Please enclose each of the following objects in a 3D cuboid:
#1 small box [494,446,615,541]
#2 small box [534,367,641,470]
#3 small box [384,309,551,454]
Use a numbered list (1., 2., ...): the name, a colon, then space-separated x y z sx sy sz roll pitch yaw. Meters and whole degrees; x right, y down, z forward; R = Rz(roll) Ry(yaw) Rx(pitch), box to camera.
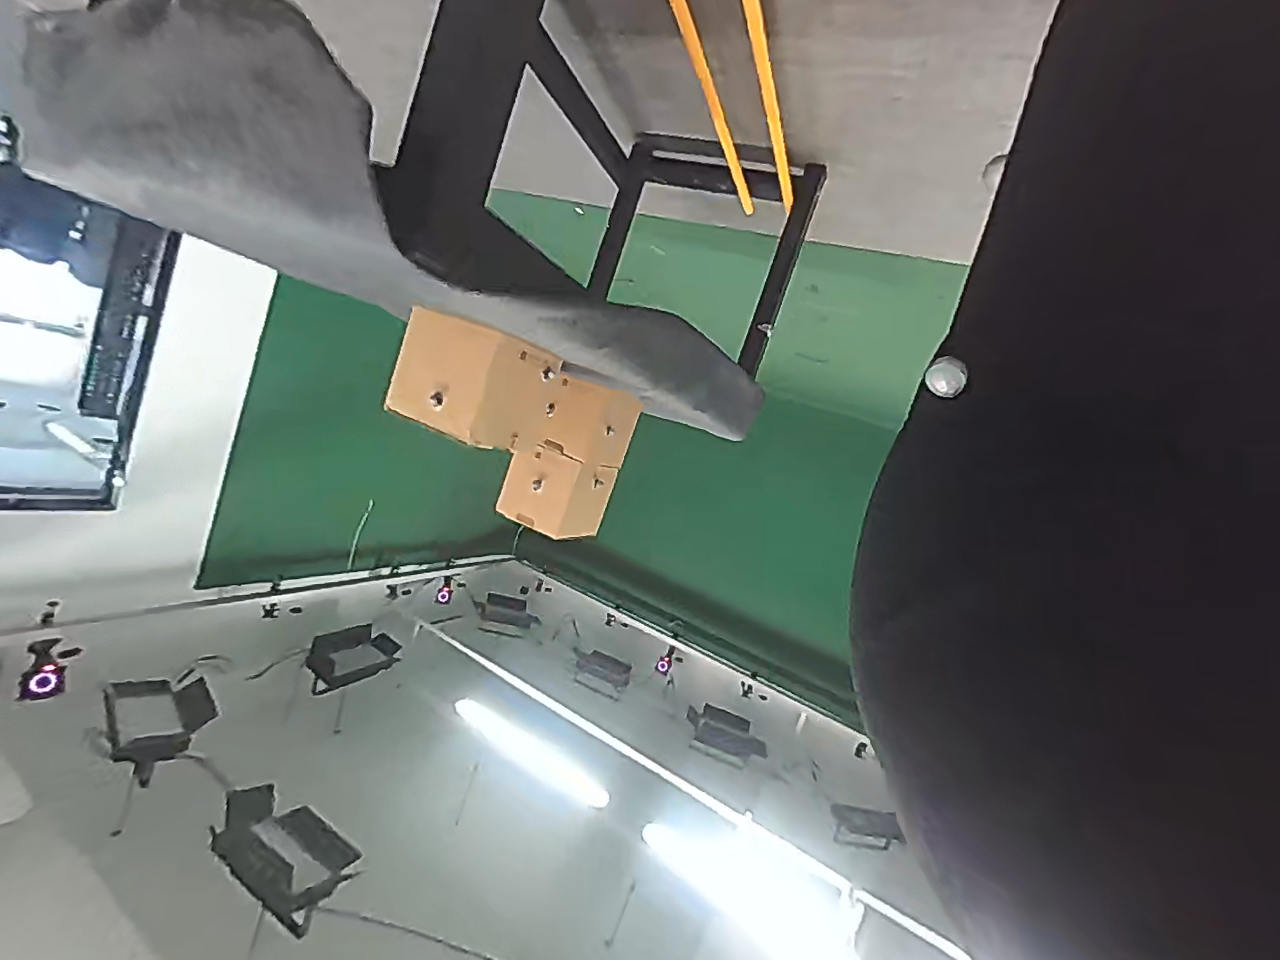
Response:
1. small box: -0.180 0.022 1.172 0.168 0.176 0.179 22 -175 22
2. small box: -0.120 -0.130 1.154 0.168 0.176 0.179 22 -174 21
3. small box: -0.259 -0.152 0.848 0.179 0.176 0.168 22 -175 22
